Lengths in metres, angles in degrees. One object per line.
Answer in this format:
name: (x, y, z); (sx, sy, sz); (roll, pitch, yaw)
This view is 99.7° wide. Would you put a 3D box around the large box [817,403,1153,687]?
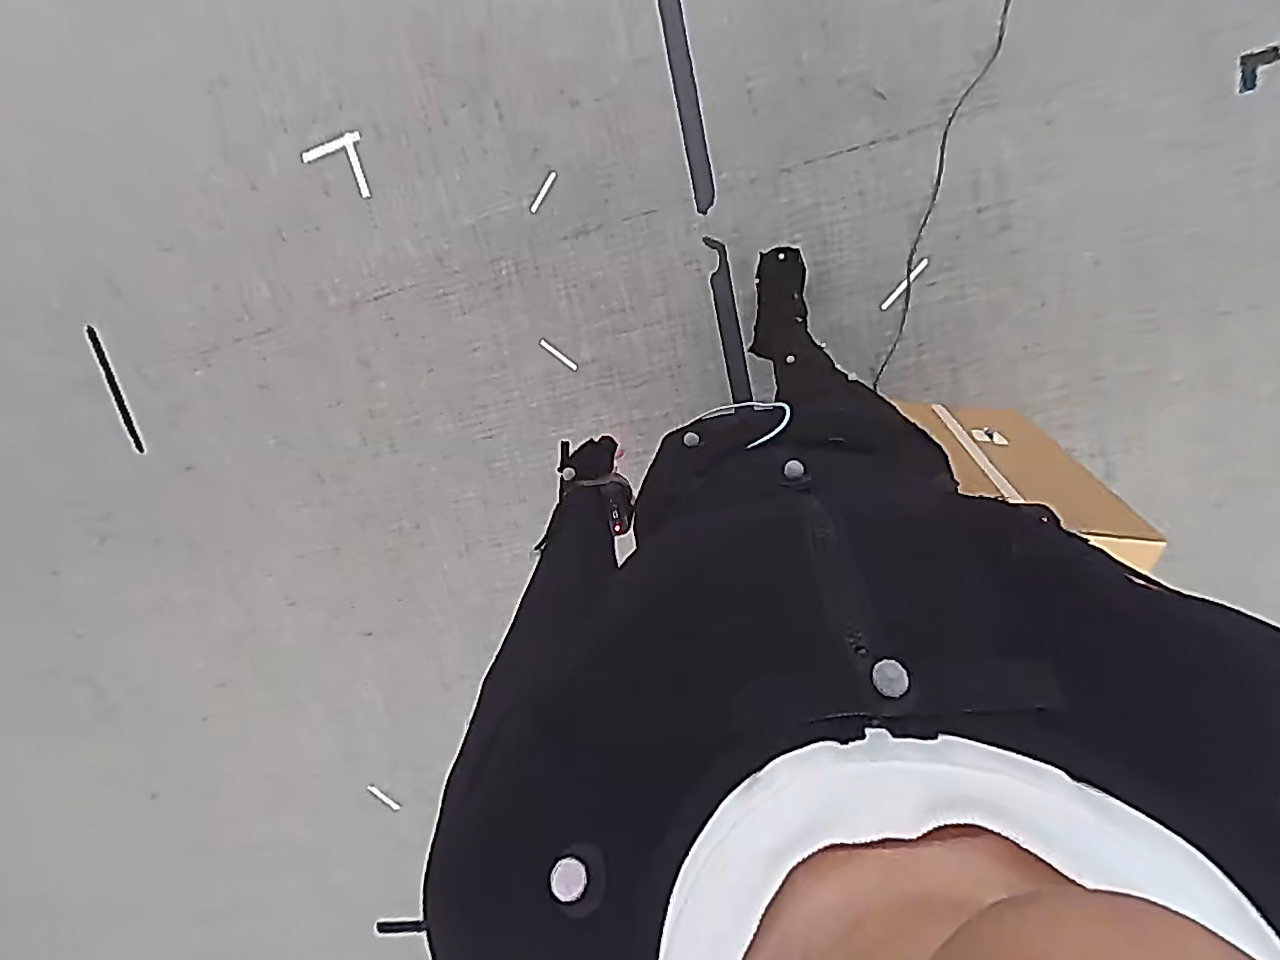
large box: (0.520, 0.090, 0.938); (0.320, 0.408, 0.320); (5, 119, 5)
